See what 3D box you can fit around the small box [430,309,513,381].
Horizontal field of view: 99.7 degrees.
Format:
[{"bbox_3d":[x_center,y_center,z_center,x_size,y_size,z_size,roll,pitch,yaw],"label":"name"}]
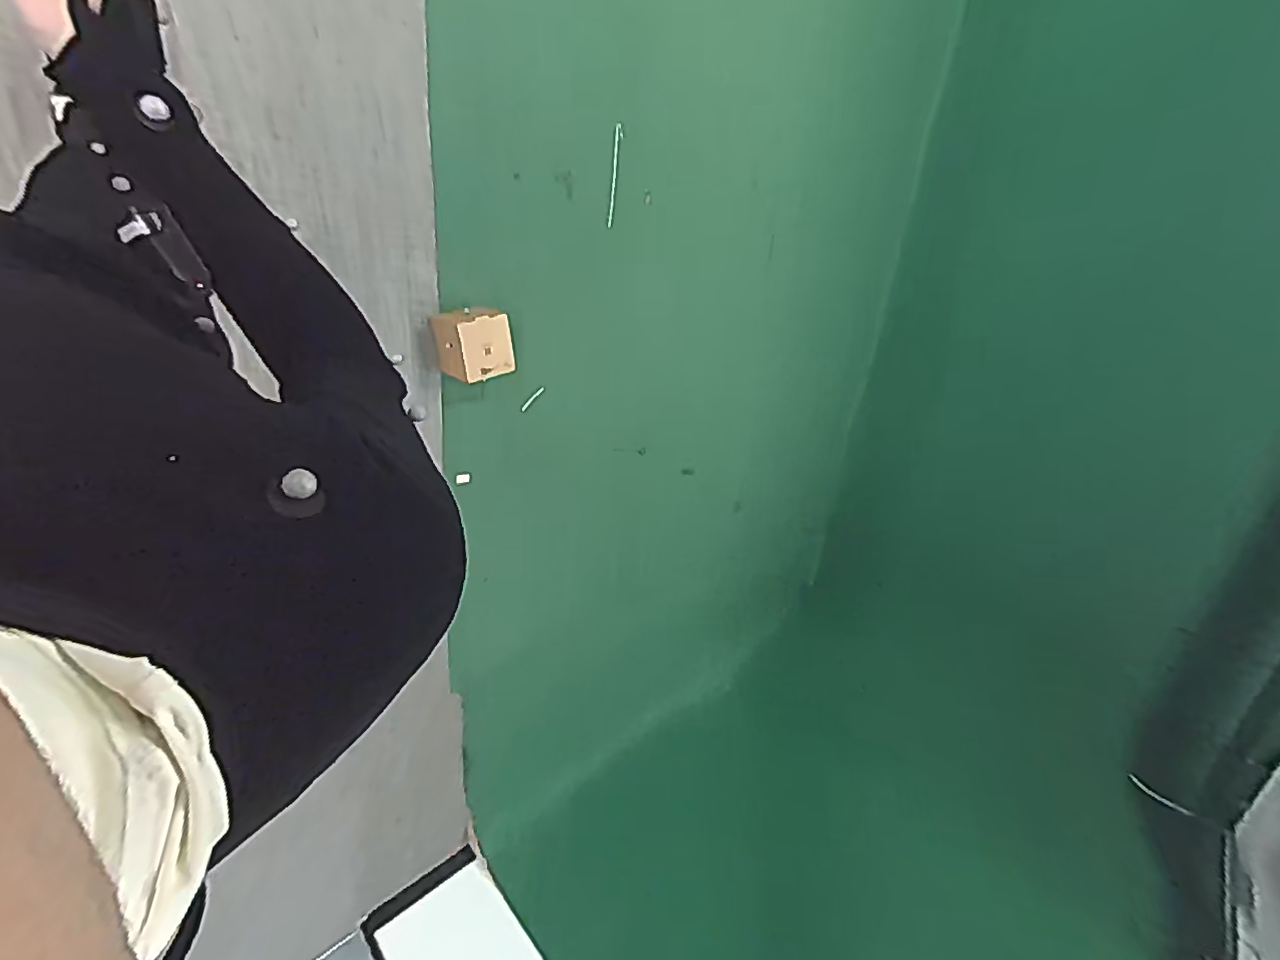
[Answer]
[{"bbox_3d":[-0.510,-0.415,1.634,0.168,0.176,0.179,-27,127,-36],"label":"small box"}]
